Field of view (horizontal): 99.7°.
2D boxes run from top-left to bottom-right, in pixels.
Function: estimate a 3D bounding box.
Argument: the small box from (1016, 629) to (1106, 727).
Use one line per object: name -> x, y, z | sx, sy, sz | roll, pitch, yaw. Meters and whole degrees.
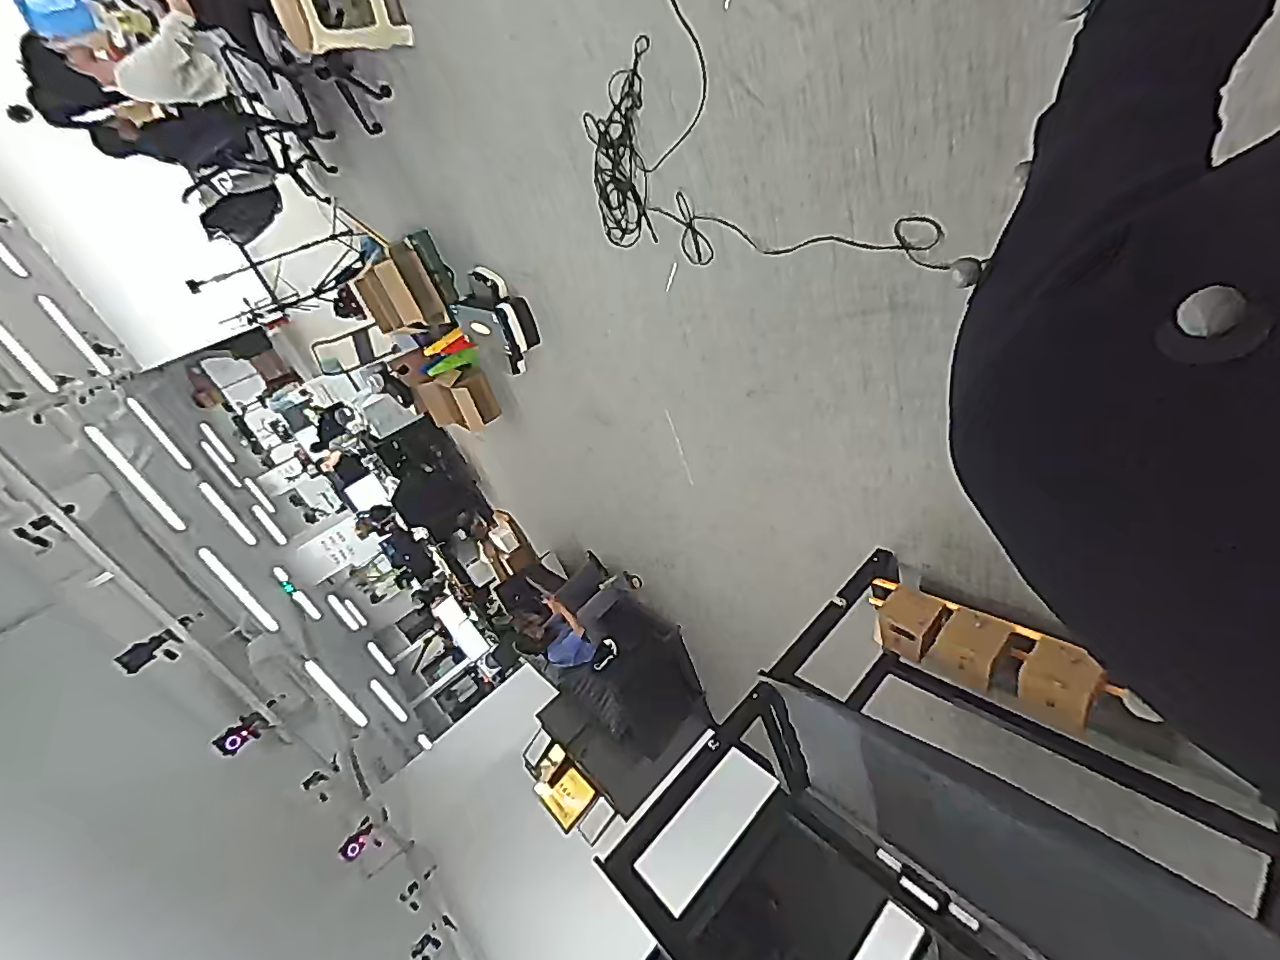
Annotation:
small box -> 1.250, 0.583, 1.608 | 0.168, 0.176, 0.179 | 20, 137, 49
